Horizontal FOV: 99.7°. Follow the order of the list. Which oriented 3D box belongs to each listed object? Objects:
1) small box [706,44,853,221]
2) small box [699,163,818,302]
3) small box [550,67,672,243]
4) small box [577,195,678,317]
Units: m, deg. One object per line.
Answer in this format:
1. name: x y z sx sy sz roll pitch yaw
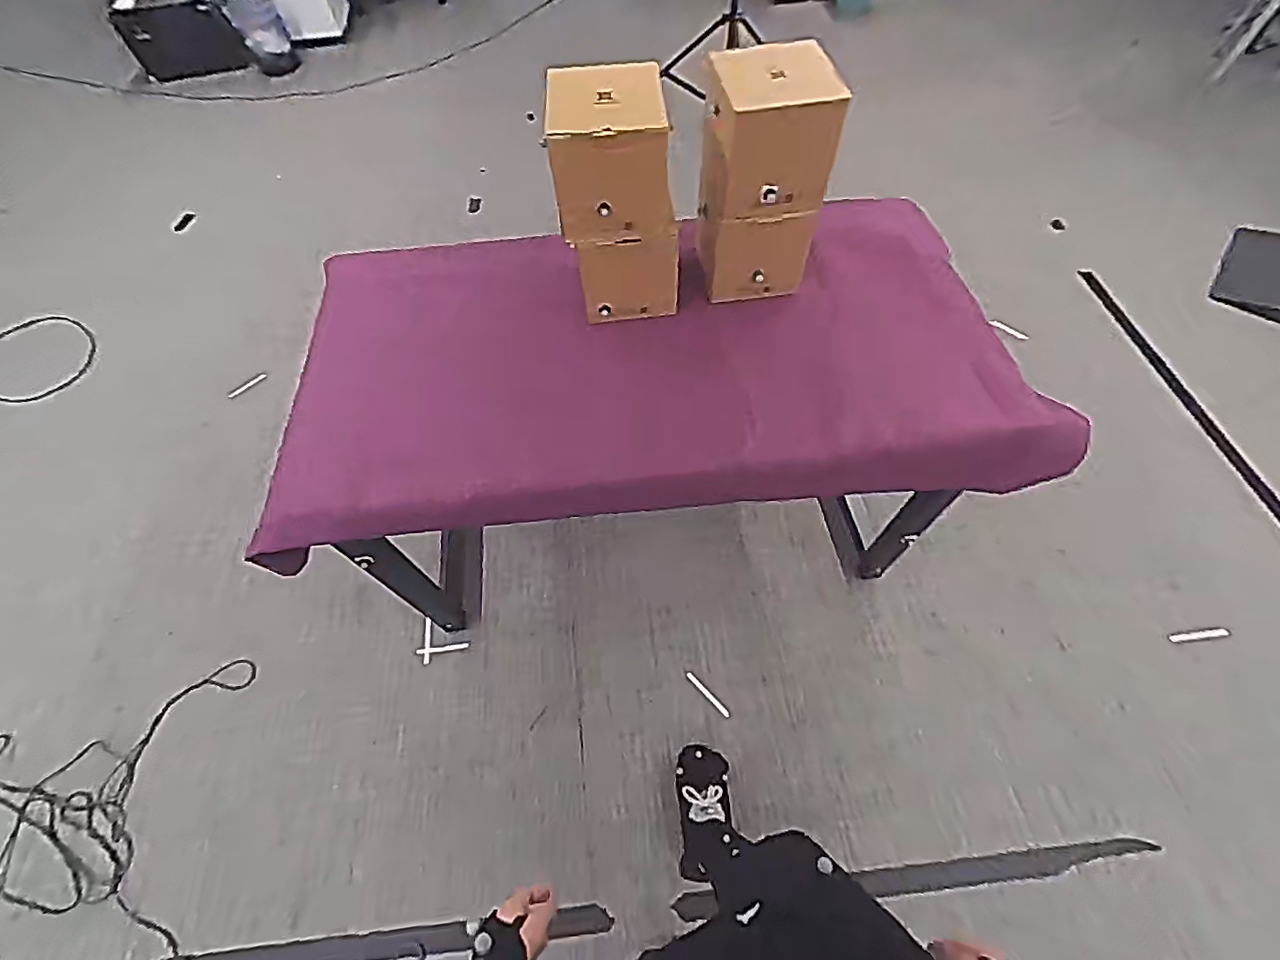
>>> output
1. small box: 0.203 -0.539 0.847 0.168 0.176 0.179 -9 61 -2
2. small box: 0.203 -0.453 0.985 0.168 0.176 0.179 -7 61 -1
3. small box: -0.043 -0.493 0.829 0.168 0.176 0.179 -4 61 -1
4. small box: -0.024 -0.410 0.968 0.168 0.176 0.179 -7 60 -2
